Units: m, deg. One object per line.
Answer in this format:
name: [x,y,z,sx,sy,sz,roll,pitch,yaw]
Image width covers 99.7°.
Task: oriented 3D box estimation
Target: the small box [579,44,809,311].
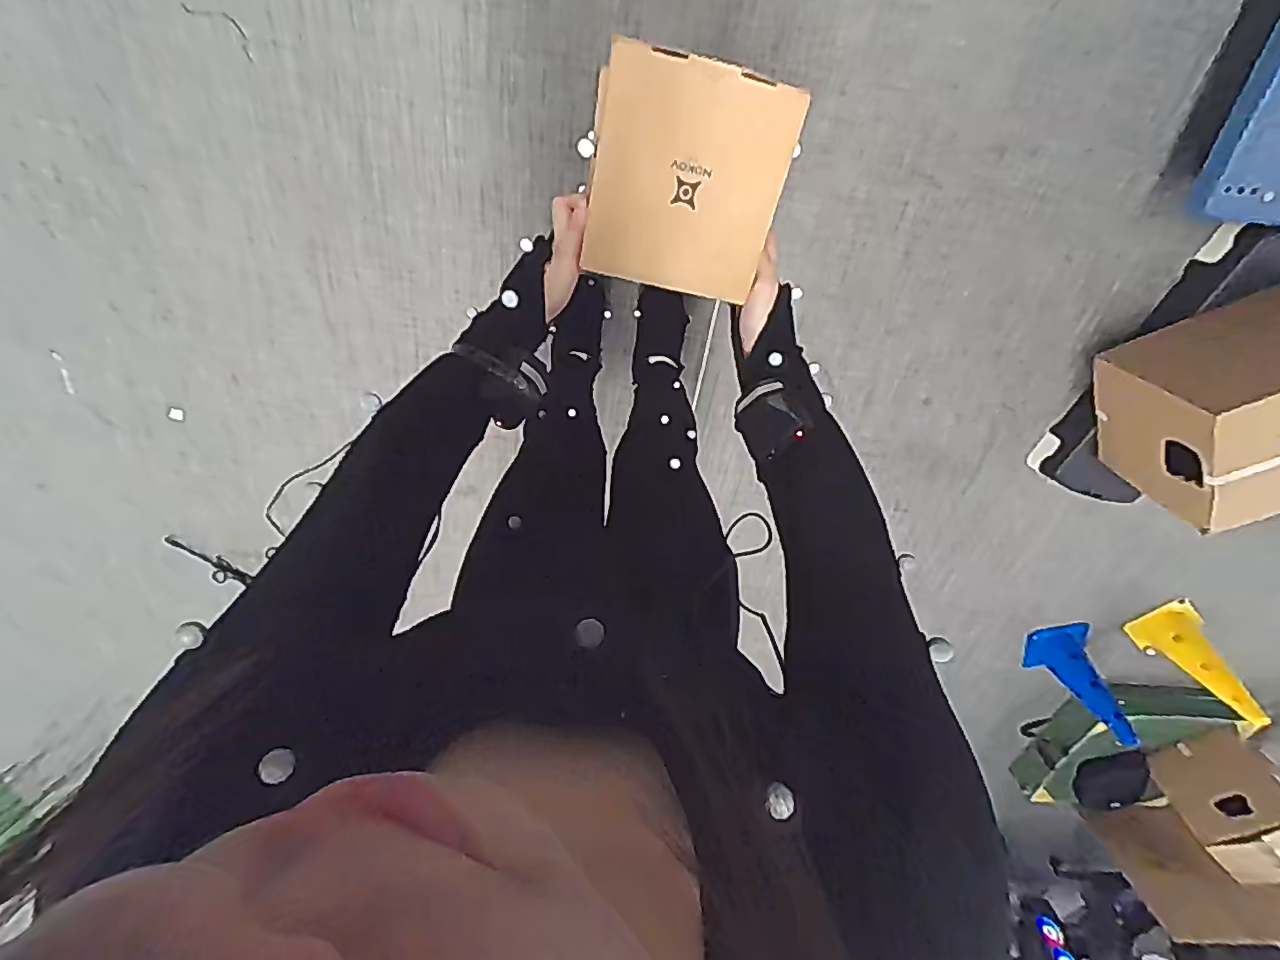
small box: [0.039,-0.291,0.537,0.168,0.176,0.179,9,121,-9]
